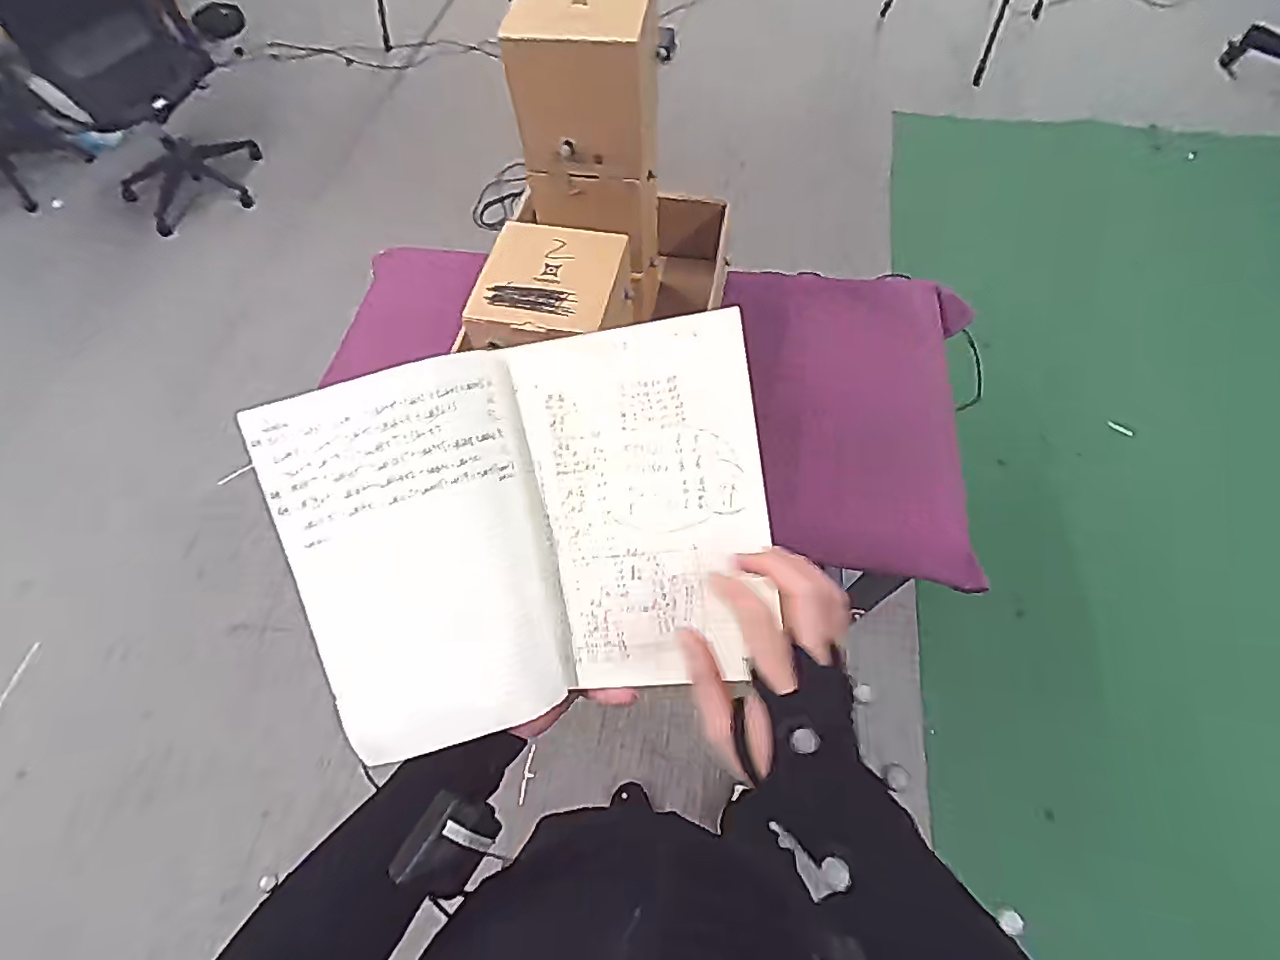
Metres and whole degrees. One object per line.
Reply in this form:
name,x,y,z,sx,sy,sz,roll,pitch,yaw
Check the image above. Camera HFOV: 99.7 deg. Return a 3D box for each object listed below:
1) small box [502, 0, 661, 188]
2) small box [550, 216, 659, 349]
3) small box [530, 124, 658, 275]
small box,-0.066,-0.528,0.723,0.168,0.176,0.179,7,65,6
small box,-0.058,-0.374,1.012,0.168,0.176,0.179,7,64,6
small box,-0.063,-0.455,0.869,0.168,0.176,0.179,7,63,5
